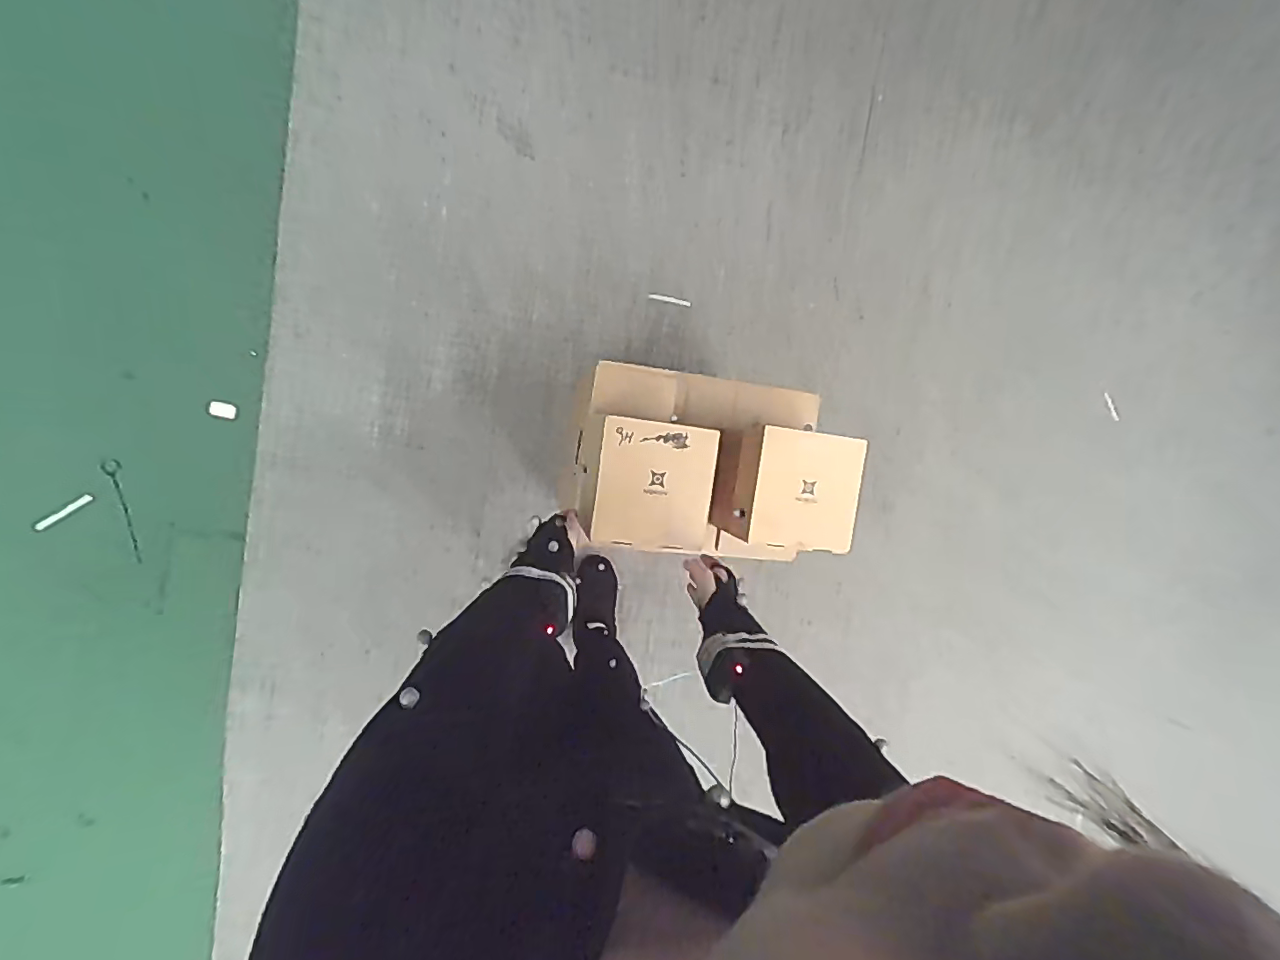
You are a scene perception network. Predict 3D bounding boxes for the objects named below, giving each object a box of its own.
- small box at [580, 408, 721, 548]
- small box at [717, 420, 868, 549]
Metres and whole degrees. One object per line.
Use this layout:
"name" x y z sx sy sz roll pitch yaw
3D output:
"small box" 0.005 -0.010 0.820 0.168 0.176 0.179 7 97 -13
"small box" 0.233 0.001 0.865 0.168 0.176 0.179 7 95 -11
